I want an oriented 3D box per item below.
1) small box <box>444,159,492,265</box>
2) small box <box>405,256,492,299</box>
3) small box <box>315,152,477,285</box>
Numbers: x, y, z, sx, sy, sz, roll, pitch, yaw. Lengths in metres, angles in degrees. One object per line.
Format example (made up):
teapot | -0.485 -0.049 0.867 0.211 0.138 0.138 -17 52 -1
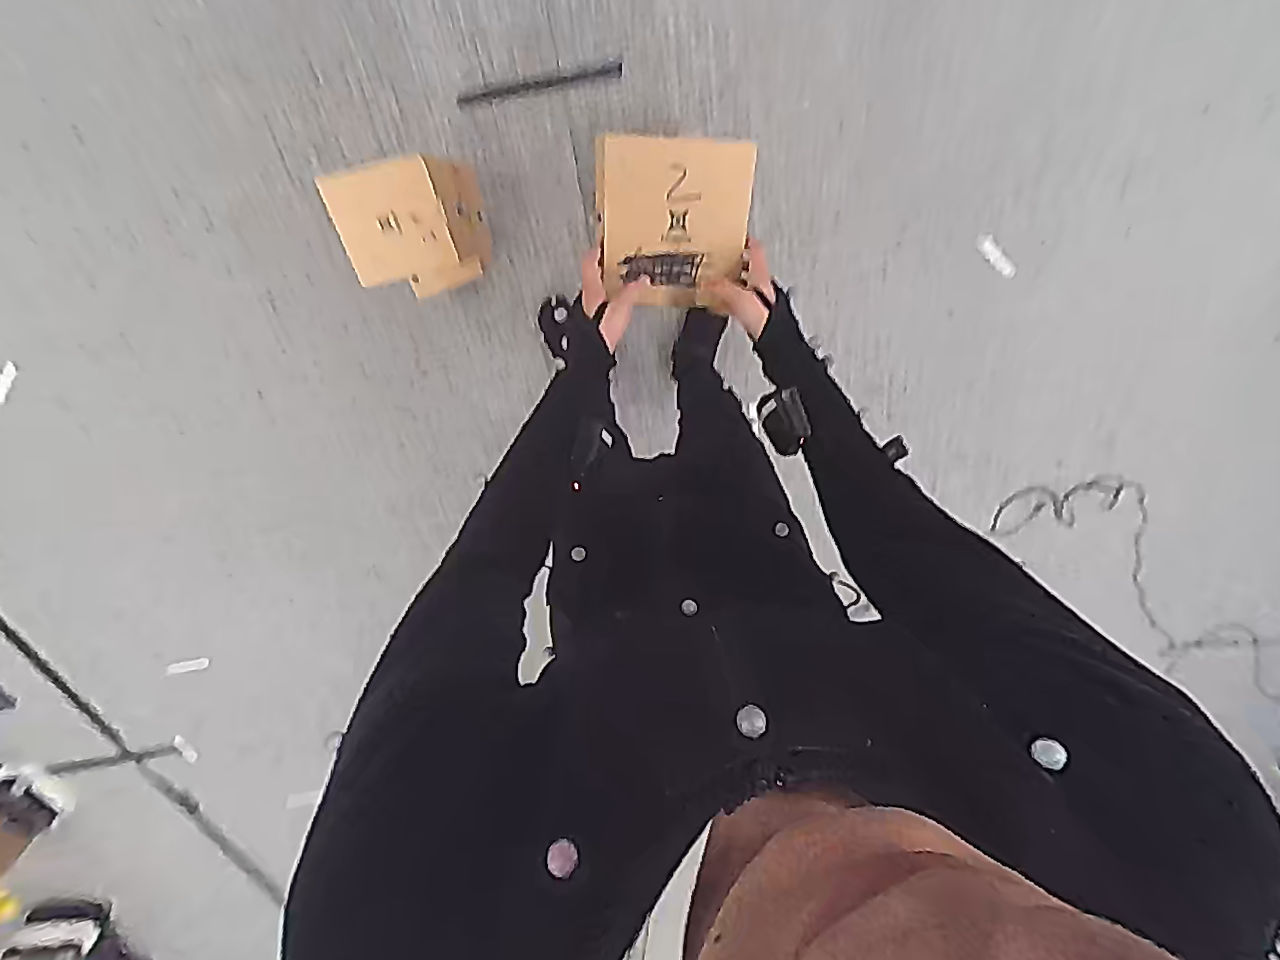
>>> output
small box | -0.402 -0.524 1.071 0.168 0.176 0.179 -6 119 -2
small box | -0.461 -0.540 1.242 0.168 0.176 0.179 -19 119 5
small box | -0.402 -0.444 0.926 0.179 0.176 0.168 -13 118 2
